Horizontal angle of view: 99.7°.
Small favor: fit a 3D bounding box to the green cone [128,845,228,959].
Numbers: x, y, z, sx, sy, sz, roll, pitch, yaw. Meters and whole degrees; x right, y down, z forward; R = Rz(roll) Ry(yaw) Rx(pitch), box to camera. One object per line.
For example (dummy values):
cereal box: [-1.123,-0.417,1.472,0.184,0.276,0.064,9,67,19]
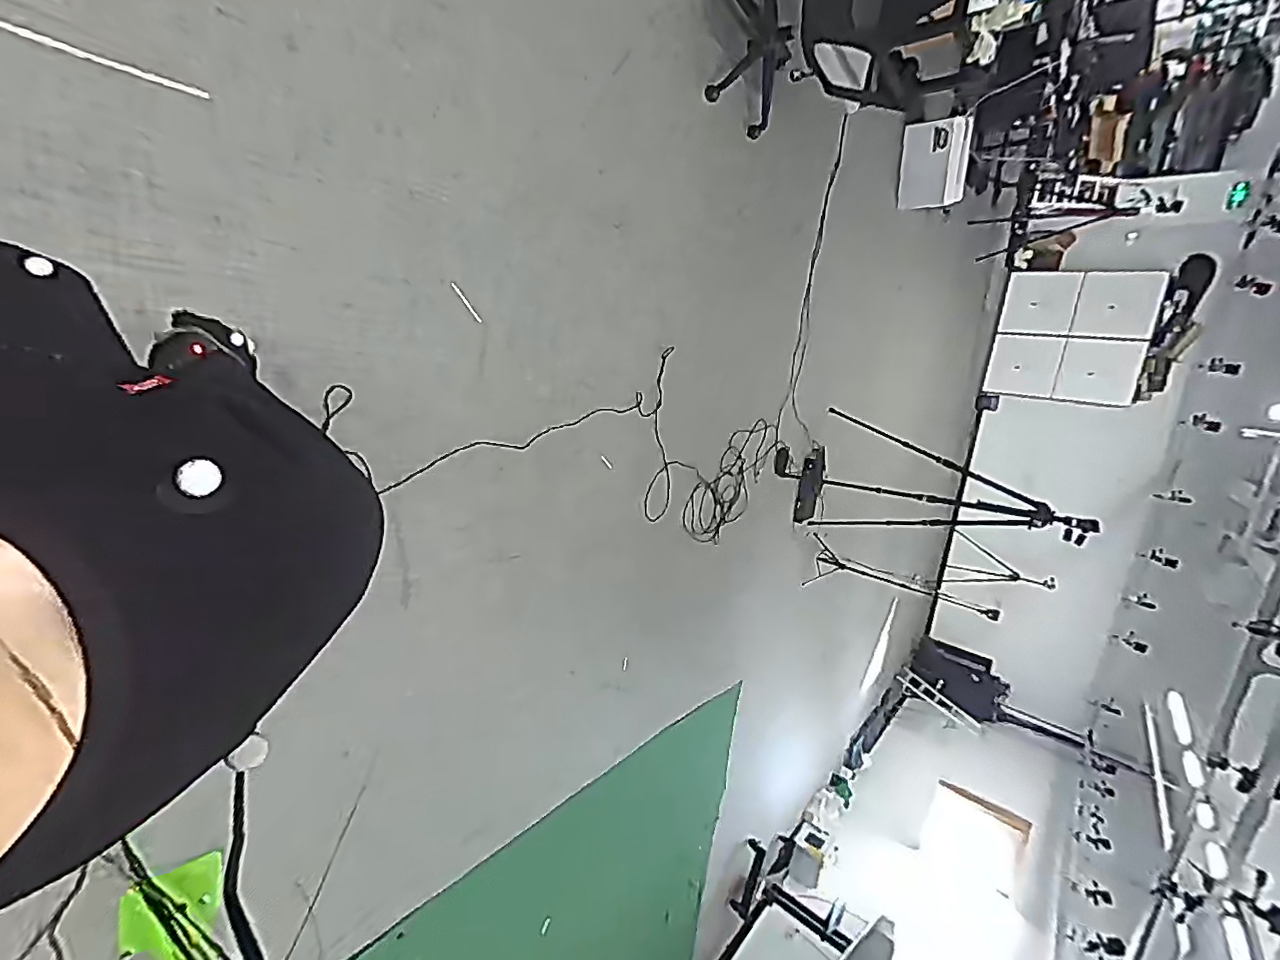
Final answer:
green cone: [-1.059,1.114,1.295,0.200,0.368,0.202,-4,105,-51]
